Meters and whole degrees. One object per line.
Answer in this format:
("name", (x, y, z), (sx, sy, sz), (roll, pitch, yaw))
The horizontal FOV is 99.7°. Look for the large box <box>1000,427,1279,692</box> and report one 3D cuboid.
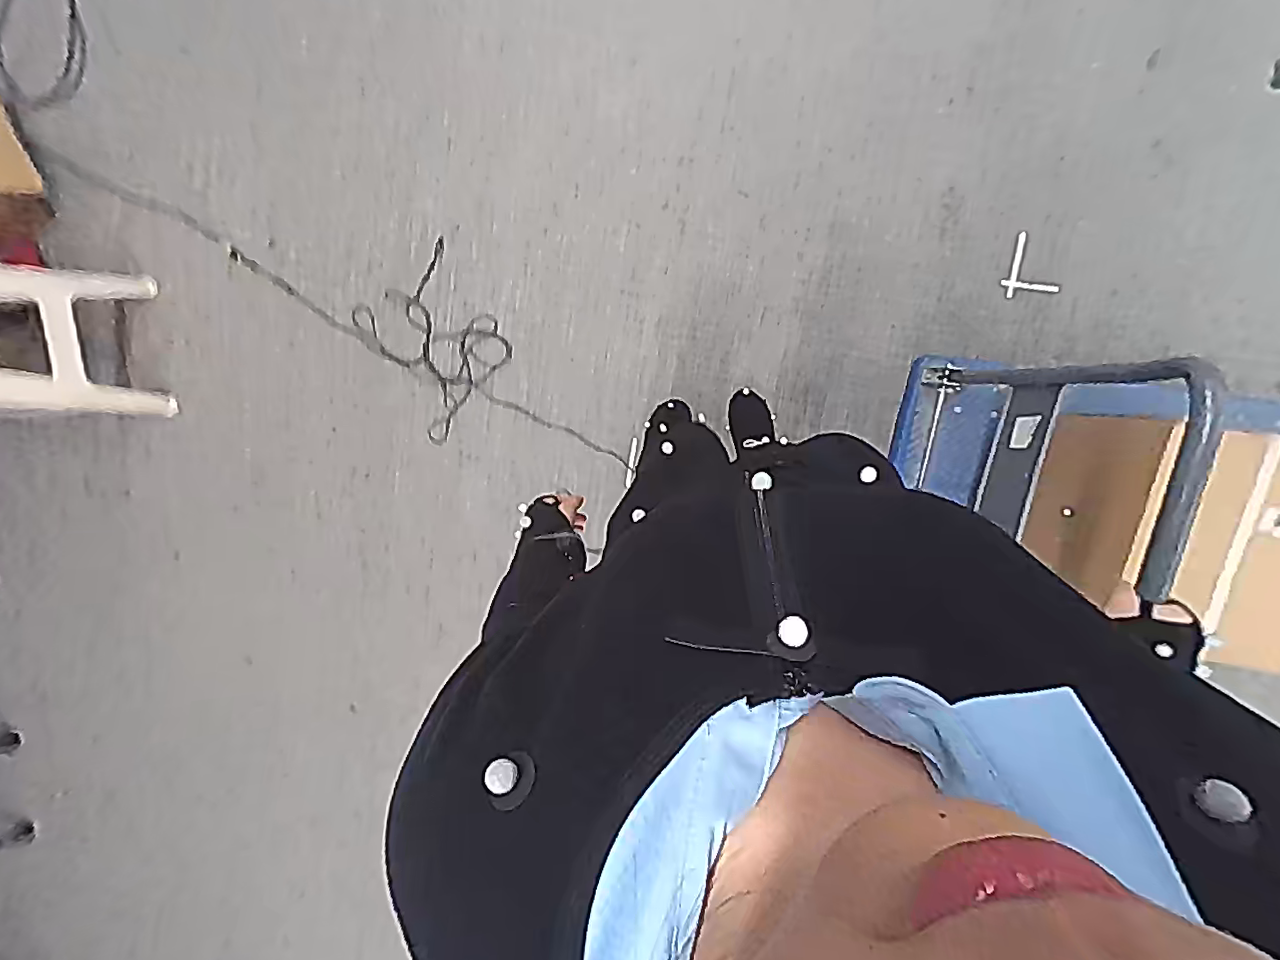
("large box", (1.010, 0.130, 1.077), (0.320, 0.320, 0.408), (15, 100, 3))
